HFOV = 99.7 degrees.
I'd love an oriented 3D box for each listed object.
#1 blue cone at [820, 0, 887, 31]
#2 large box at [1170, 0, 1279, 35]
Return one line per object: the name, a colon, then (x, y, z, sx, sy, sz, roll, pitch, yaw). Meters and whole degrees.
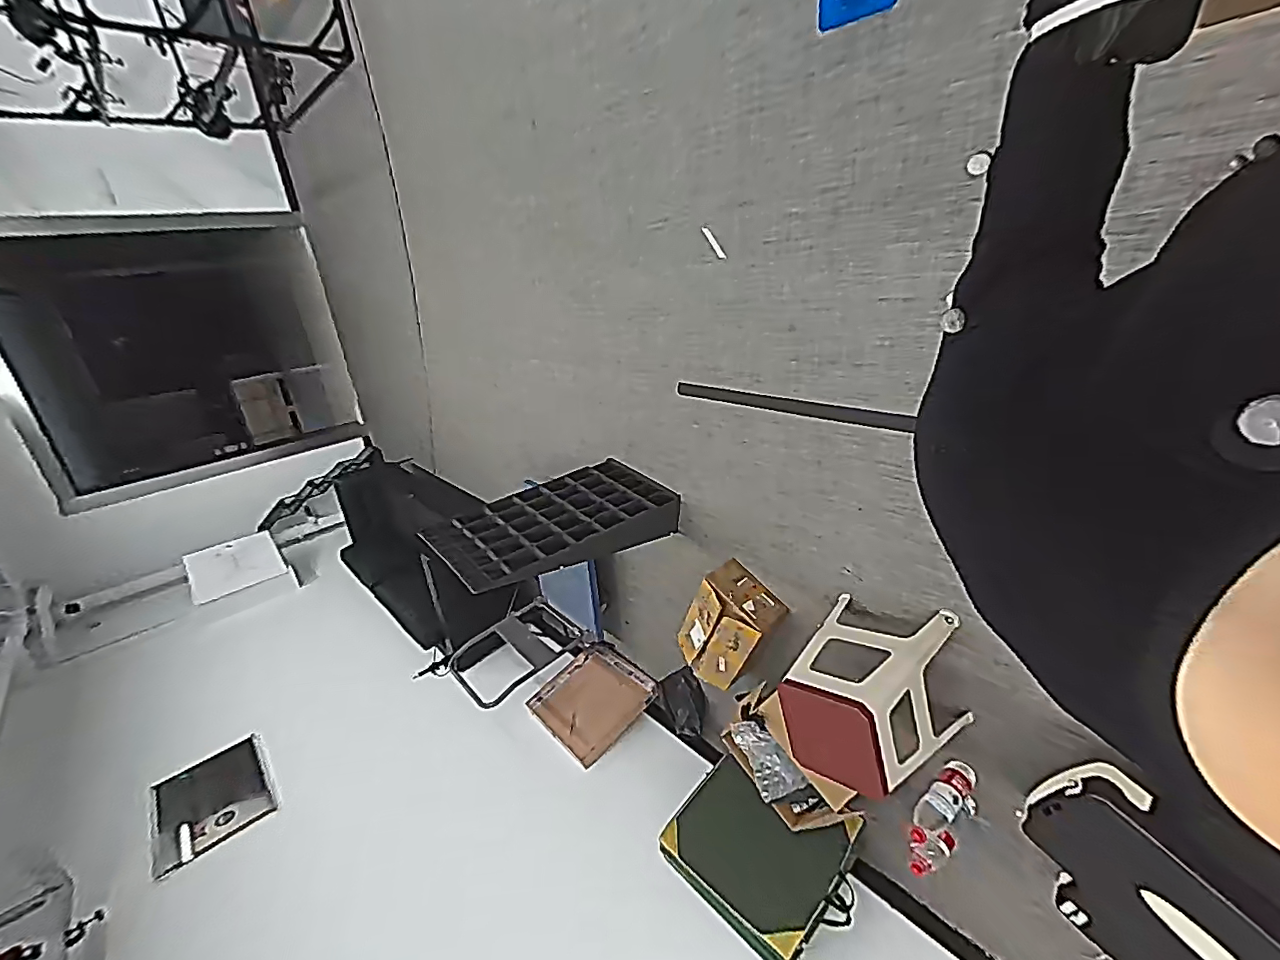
blue cone: (0.385, -1.141, 1.172, 0.192, 0.380, 0.193, 24, 127, 44)
large box: (0.530, -0.473, 0.232, 0.408, 0.320, 0.320, 14, 123, 44)
